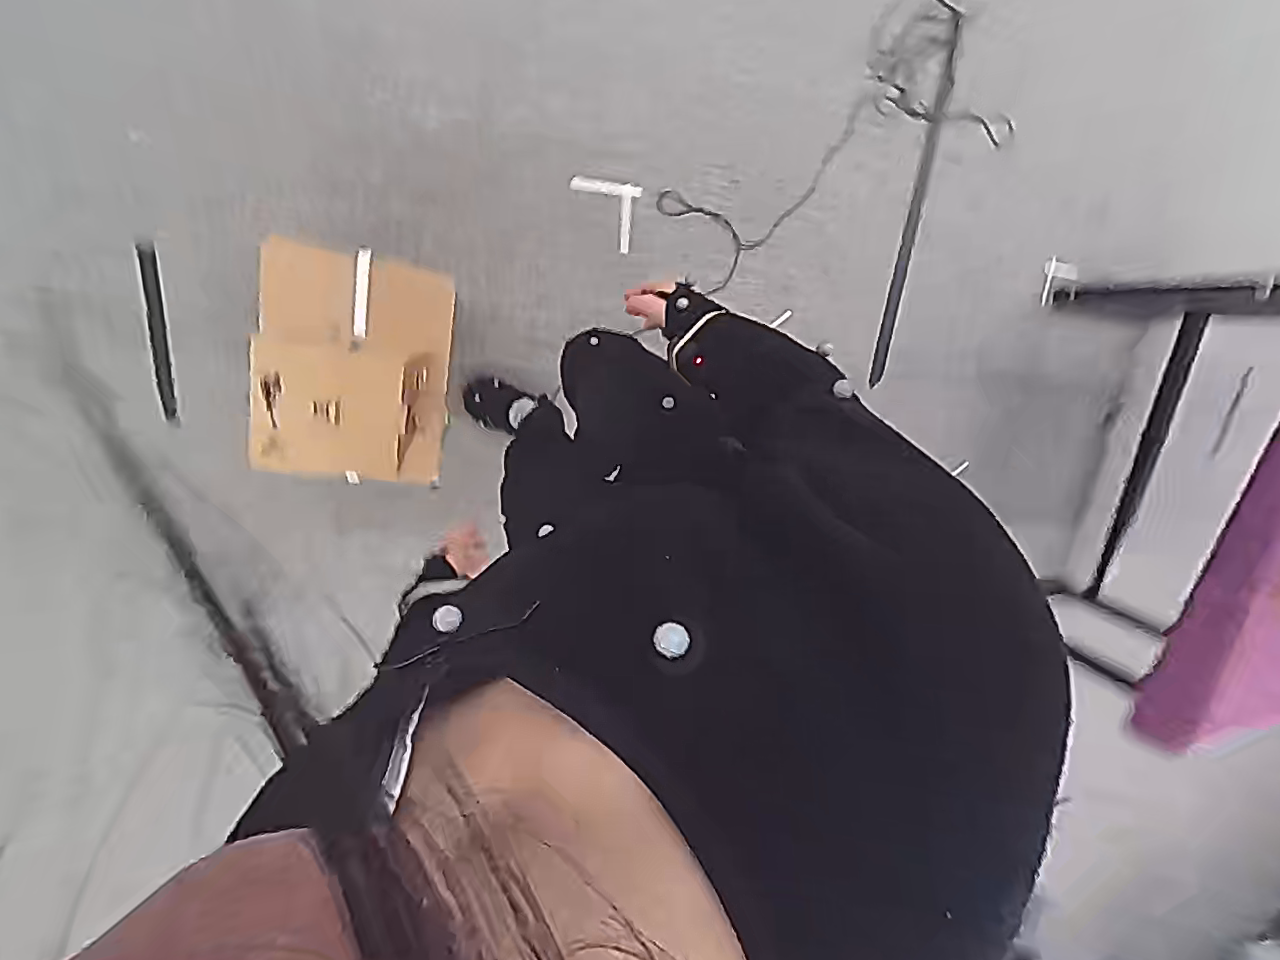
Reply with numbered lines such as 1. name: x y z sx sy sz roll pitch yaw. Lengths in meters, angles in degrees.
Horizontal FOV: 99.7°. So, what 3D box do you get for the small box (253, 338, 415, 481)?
1. small box: -0.421 -0.105 0.768 0.179 0.176 0.168 5 104 -21
